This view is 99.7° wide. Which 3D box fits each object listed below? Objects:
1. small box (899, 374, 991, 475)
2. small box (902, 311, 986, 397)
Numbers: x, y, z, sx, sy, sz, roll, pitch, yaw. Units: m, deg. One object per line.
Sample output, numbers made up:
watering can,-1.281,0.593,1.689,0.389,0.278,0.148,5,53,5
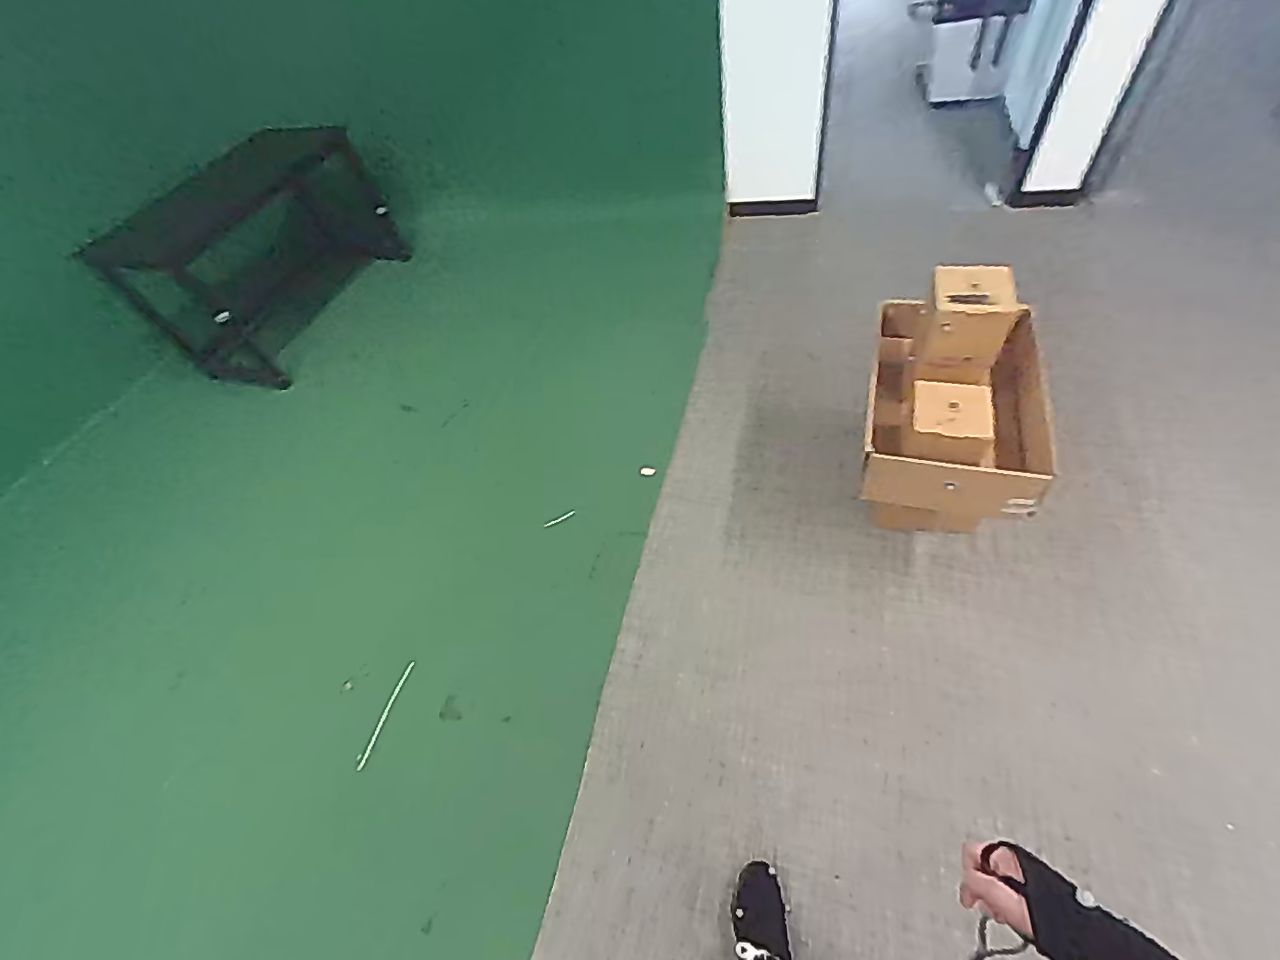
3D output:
small box,0.752,-0.139,1.347,0.168,0.176,0.179,9,55,18
small box,0.829,-0.338,1.487,0.168,0.176,0.179,8,58,17
